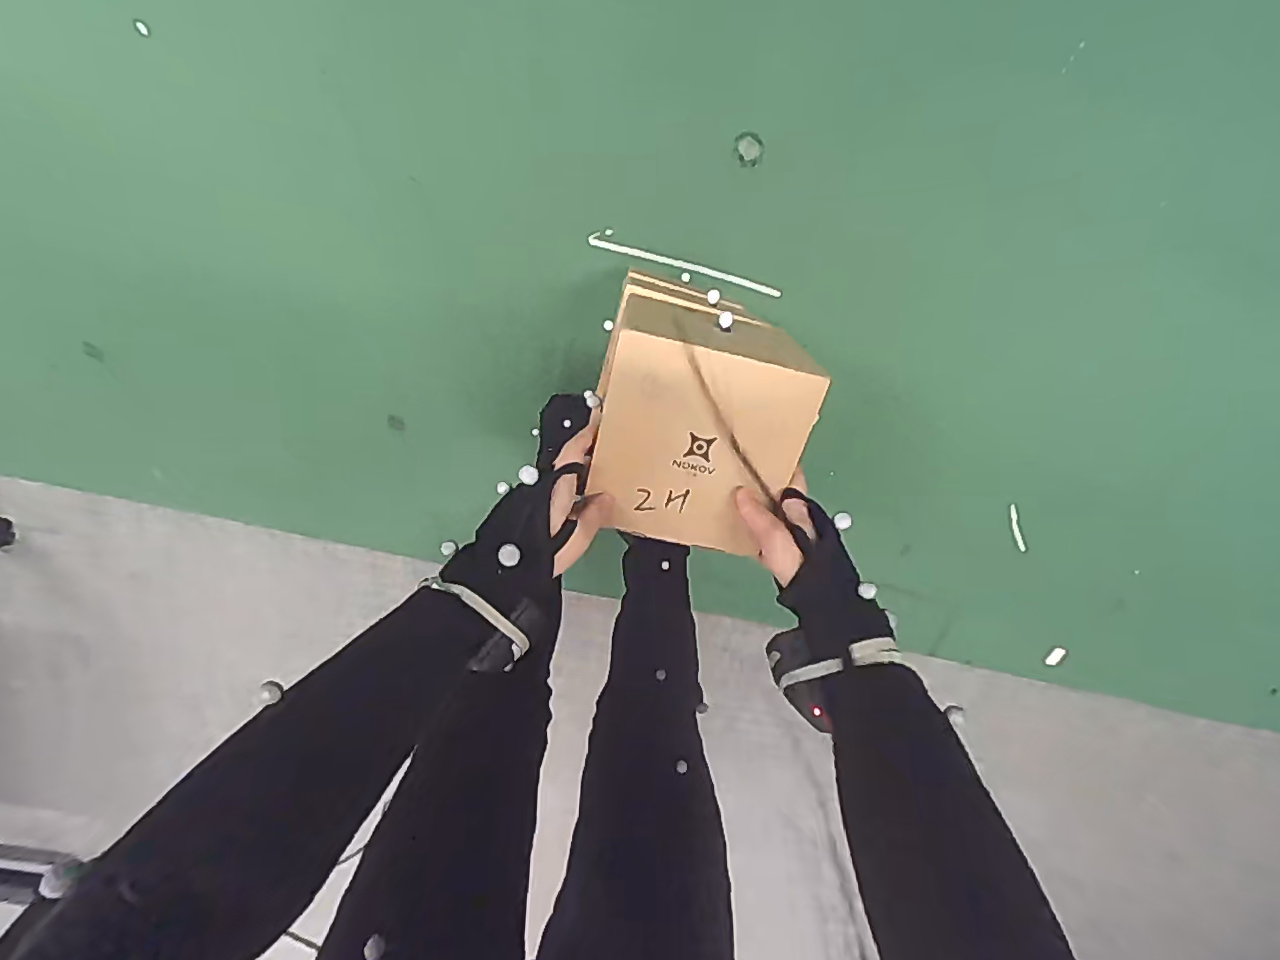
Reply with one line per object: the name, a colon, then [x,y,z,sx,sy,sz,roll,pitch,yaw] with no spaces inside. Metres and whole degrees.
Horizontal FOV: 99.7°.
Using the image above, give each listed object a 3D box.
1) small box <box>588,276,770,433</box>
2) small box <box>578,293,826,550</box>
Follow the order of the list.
small box: [0.038,-0.144,0.674,0.168,0.176,0.179,14,113,-7]
small box: [0.046,-0.065,0.511,0.168,0.176,0.179,13,117,-5]
